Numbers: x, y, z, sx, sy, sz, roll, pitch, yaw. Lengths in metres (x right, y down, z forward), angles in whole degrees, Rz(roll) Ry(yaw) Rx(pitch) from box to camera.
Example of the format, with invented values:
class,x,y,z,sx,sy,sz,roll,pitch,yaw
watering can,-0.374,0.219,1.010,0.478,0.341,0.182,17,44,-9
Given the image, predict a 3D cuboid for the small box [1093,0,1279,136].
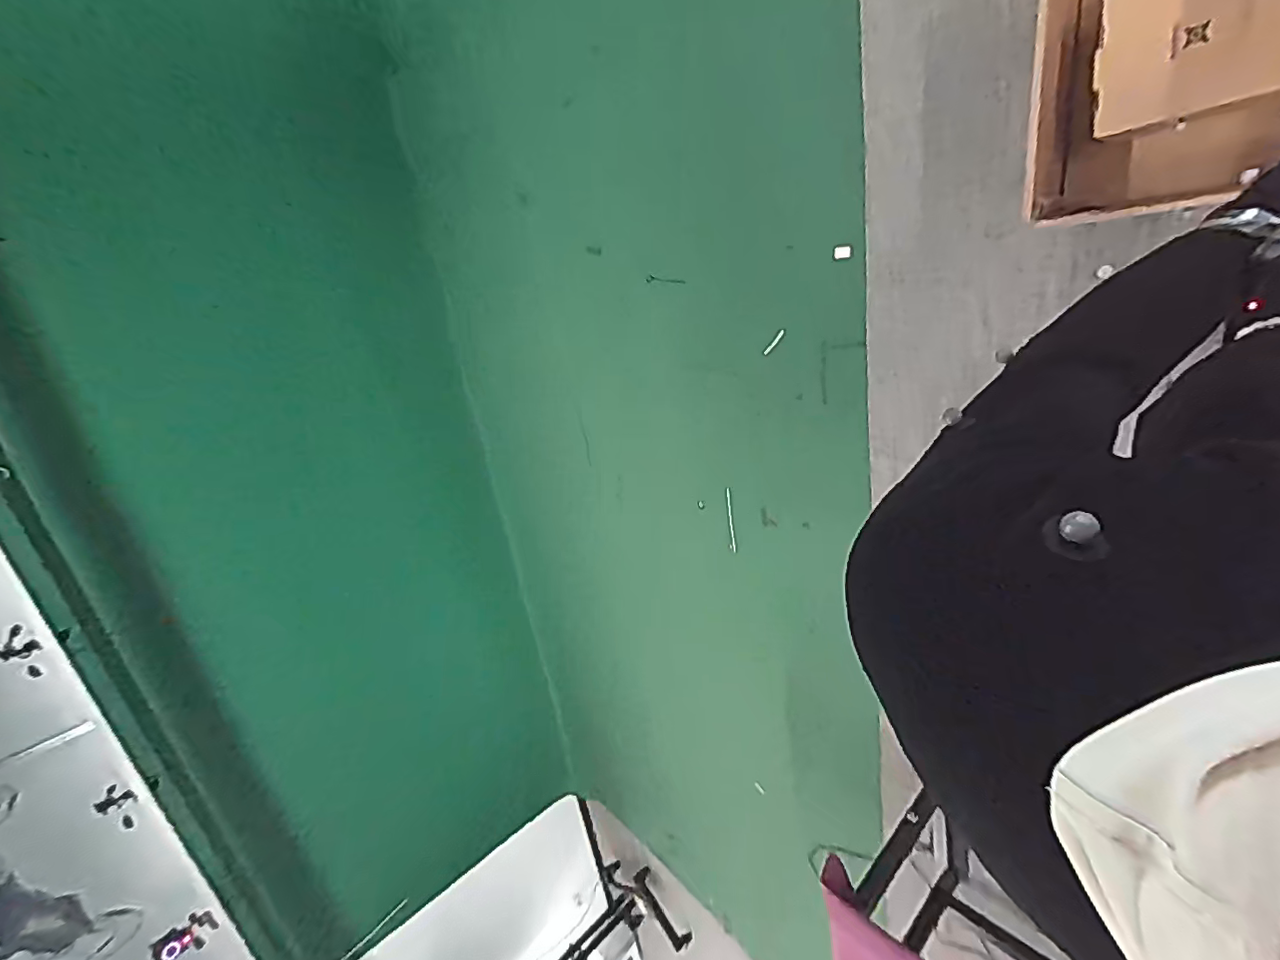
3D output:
class,x,y,z,sx,sy,sz,roll,pitch,yaw
small box,0.716,-0.558,0.689,0.179,0.176,0.168,12,119,47
